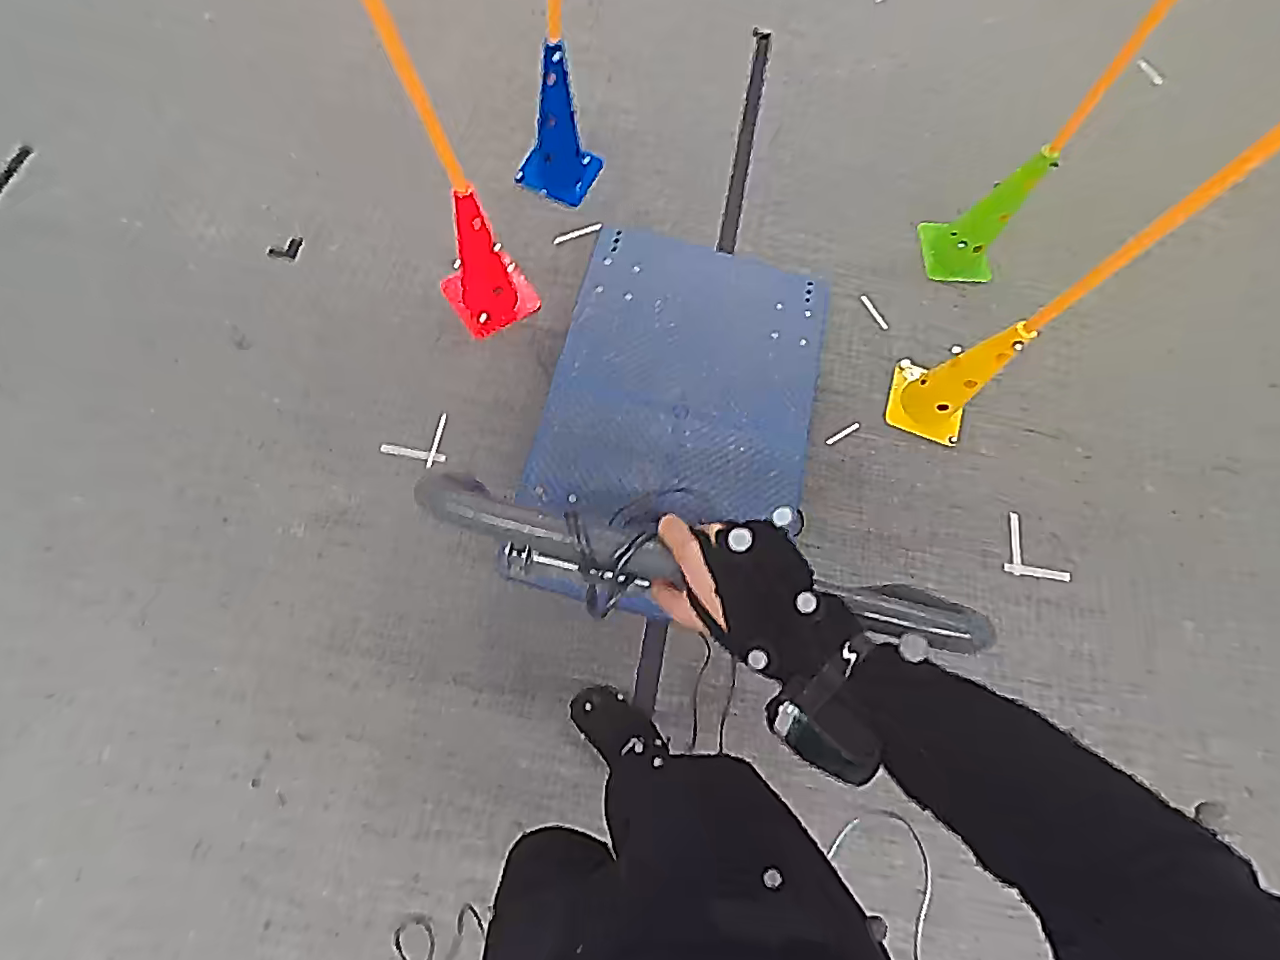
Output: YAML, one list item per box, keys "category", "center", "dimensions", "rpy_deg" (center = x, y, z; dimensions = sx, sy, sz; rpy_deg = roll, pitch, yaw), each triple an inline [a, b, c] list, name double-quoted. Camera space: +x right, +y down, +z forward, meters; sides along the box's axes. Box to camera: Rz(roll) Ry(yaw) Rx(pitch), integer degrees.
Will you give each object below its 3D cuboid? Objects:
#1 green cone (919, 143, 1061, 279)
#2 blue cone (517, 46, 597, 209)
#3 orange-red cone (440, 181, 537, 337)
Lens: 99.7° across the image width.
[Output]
- category: "green cone"
  center: [0.946, -0.730, 1.435]
  dimensions: [0.200, 0.368, 0.202]
  rpy_deg: [-2, 75, -6]
- category: "blue cone"
  center: [-0.220, -0.918, 1.391]
  dimensions: [0.193, 0.380, 0.192]
  rpy_deg: [26, 73, 2]
- category: "orange-red cone"
  center: [-0.373, -0.530, 1.242]
  dimensions: [0.199, 0.360, 0.198]
  rpy_deg: [-32, 79, -15]
